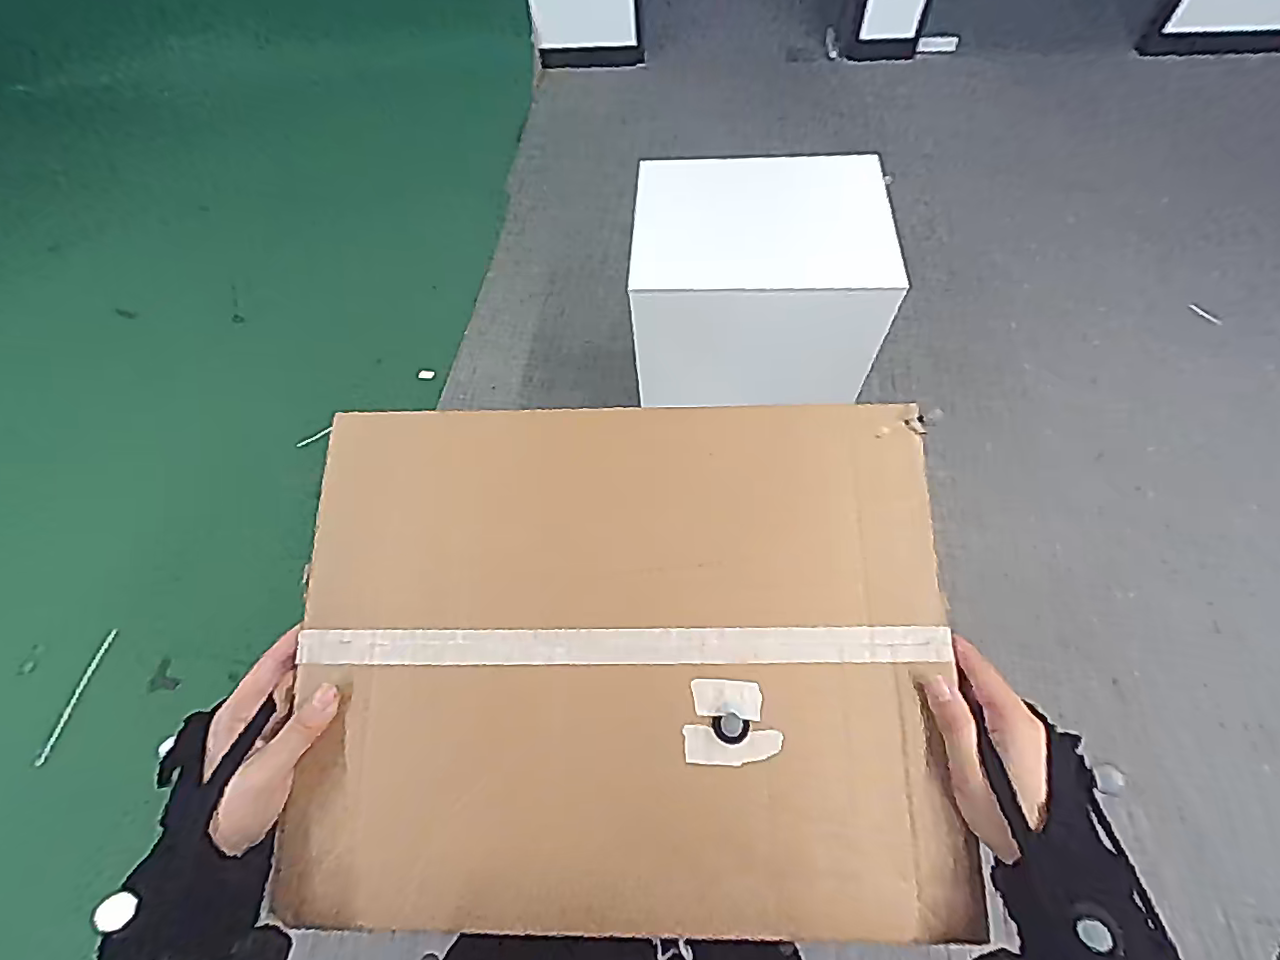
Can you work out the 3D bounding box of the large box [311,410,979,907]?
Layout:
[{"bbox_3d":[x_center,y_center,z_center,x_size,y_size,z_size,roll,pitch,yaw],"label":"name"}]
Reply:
[{"bbox_3d":[0.001,0.138,0.498,0.408,0.320,0.320,0,76,1],"label":"large box"}]
